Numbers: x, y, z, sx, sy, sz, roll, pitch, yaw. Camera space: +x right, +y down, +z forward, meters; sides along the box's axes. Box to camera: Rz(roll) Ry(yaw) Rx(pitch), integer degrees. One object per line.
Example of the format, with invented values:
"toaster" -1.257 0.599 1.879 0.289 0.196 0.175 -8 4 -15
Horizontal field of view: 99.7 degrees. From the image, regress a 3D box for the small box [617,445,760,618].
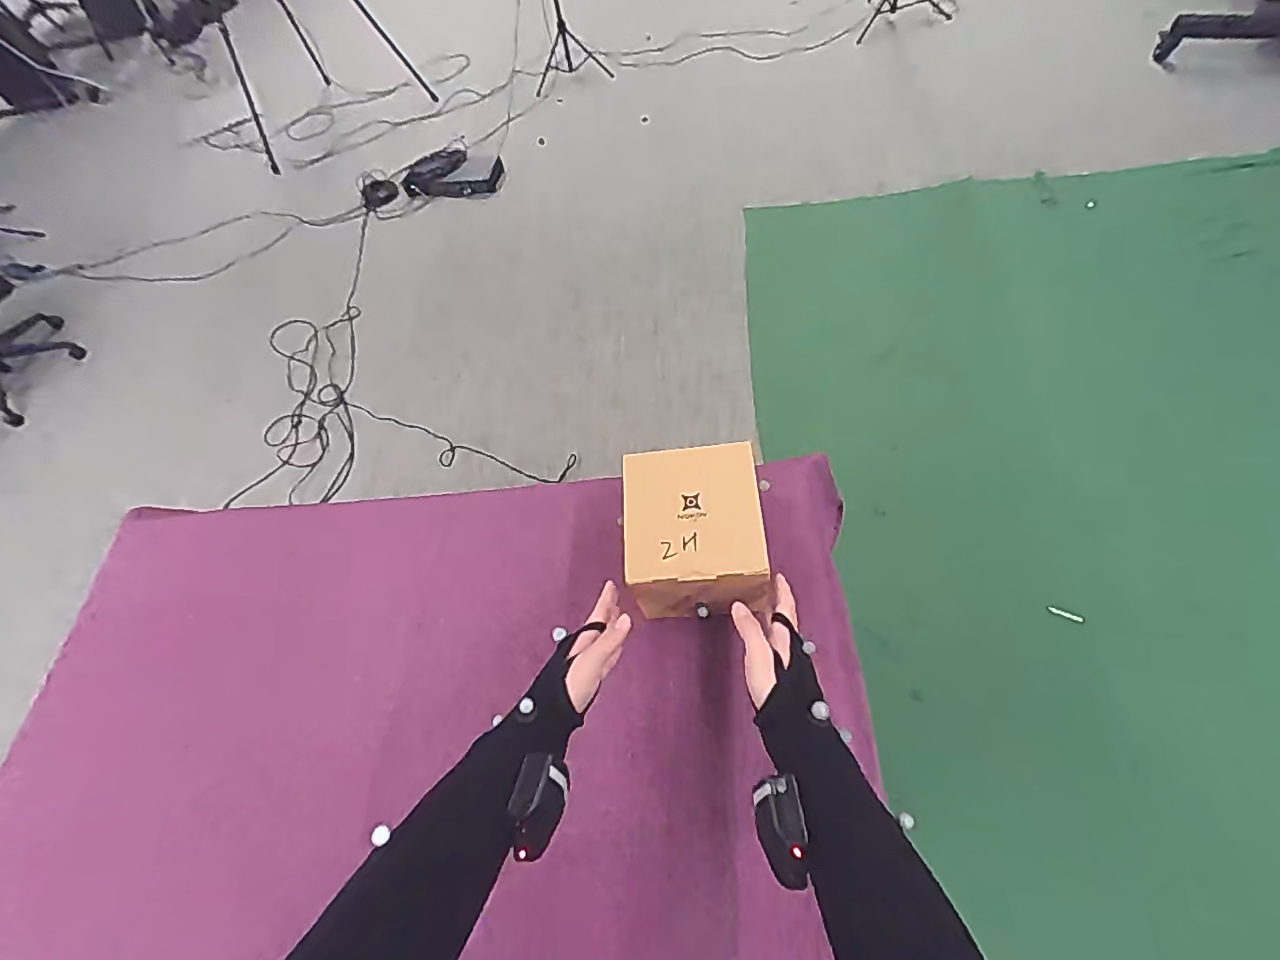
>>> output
"small box" 0.067 0.075 0.726 0.168 0.176 0.179 -6 62 9
